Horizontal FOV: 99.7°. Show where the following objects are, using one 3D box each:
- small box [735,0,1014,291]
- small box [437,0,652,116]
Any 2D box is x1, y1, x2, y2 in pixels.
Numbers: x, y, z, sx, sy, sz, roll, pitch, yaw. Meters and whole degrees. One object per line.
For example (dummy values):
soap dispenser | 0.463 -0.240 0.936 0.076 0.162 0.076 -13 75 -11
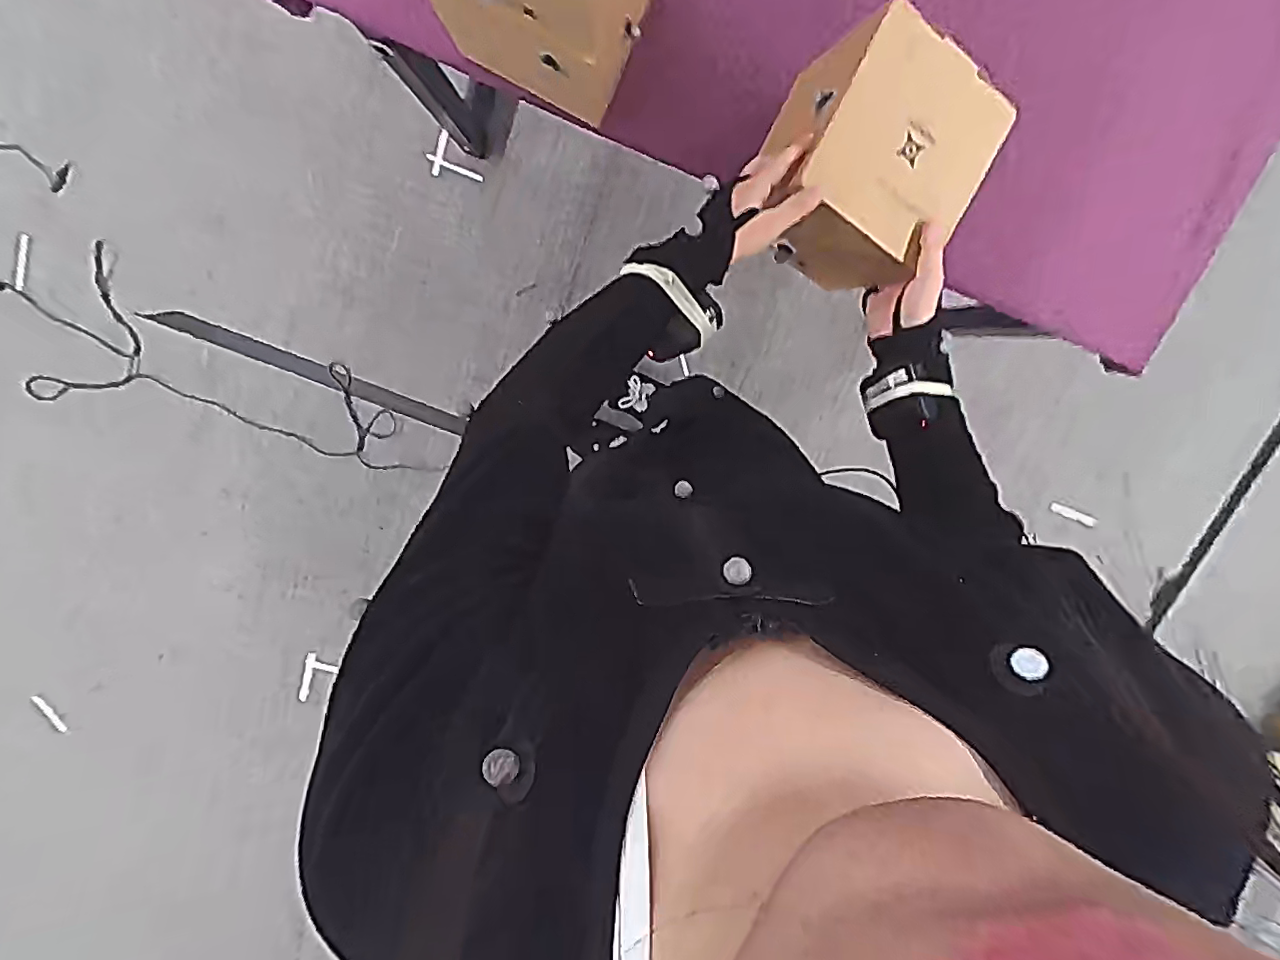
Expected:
small box | 0.226 -0.320 0.565 0.168 0.176 0.179 25 97 -19
small box | -0.085 -0.504 0.539 0.179 0.176 0.168 24 103 -8
